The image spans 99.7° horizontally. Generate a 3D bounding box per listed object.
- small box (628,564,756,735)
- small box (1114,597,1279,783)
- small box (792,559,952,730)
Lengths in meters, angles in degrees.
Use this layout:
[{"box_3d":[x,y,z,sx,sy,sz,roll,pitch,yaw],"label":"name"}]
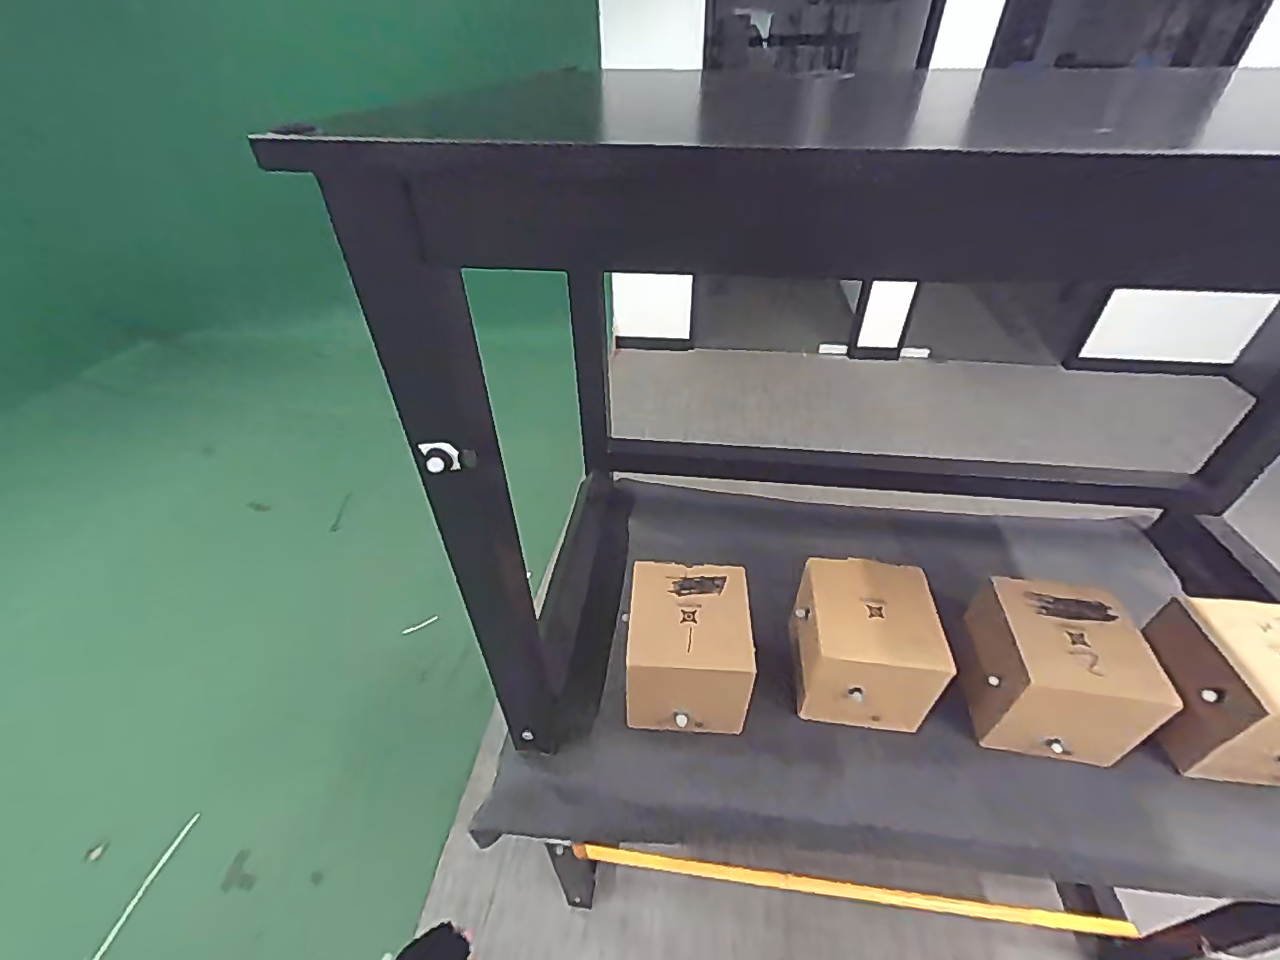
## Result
[{"box_3d":[0.071,0.246,0.795,0.168,0.176,0.179,1,40,3],"label":"small box"},{"box_3d":[0.811,0.285,0.730,0.168,0.176,0.179,4,39,5],"label":"small box"},{"box_3d":[0.325,0.242,0.797,0.168,0.176,0.179,5,39,6],"label":"small box"}]
